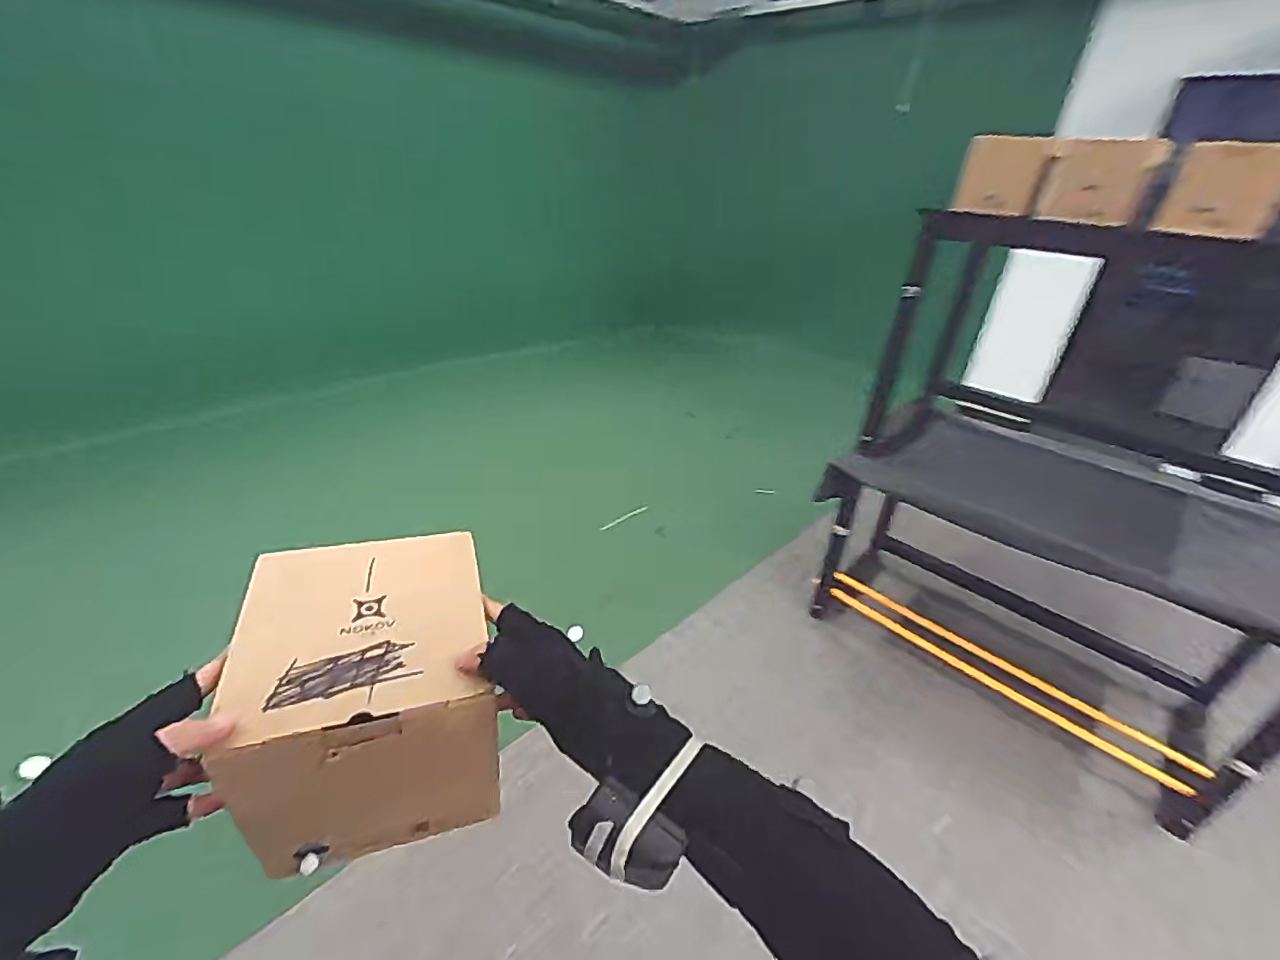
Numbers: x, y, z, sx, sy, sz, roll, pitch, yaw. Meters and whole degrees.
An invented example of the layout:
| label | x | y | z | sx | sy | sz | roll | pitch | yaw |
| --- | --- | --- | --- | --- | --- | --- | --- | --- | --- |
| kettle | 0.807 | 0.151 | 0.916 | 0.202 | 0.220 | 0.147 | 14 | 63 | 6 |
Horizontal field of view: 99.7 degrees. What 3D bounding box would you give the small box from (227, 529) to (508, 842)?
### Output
| label | x | y | z | sx | sy | sz | roll | pitch | yaw |
| --- | --- | --- | --- | --- | --- | --- | --- | --- | --- |
| small box | -0.203 | 0.166 | 0.451 | 0.168 | 0.176 | 0.179 | -4 | 34 | -20 |
